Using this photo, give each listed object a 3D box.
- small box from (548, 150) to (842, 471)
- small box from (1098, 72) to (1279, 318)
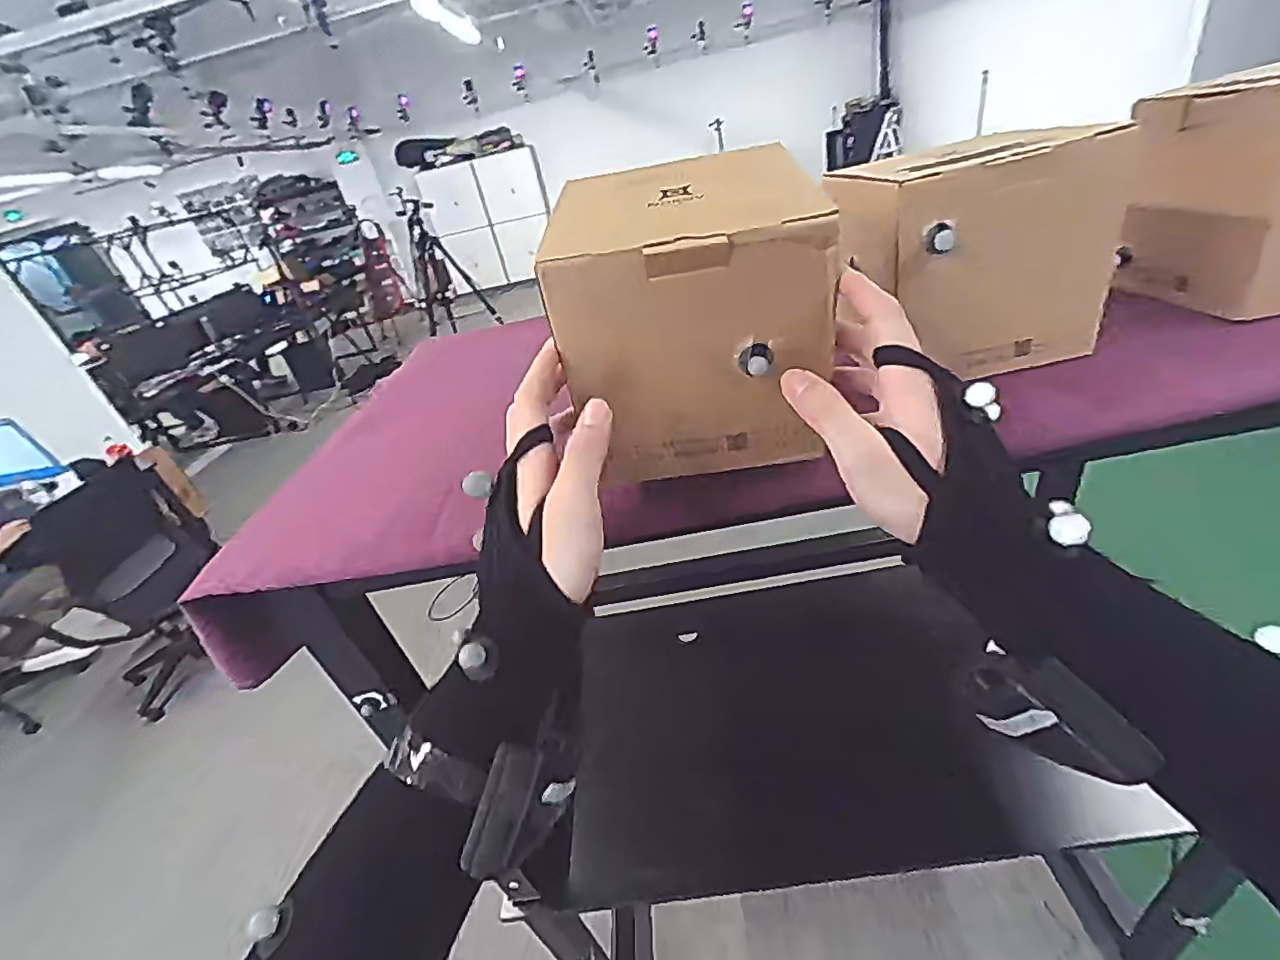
[{"bbox_3d":[0.042,-0.119,0.405,0.168,0.176,0.179,-7,42,6],"label":"small box"},{"bbox_3d":[0.556,-0.255,0.478,0.179,0.176,0.168,-10,32,5],"label":"small box"}]
